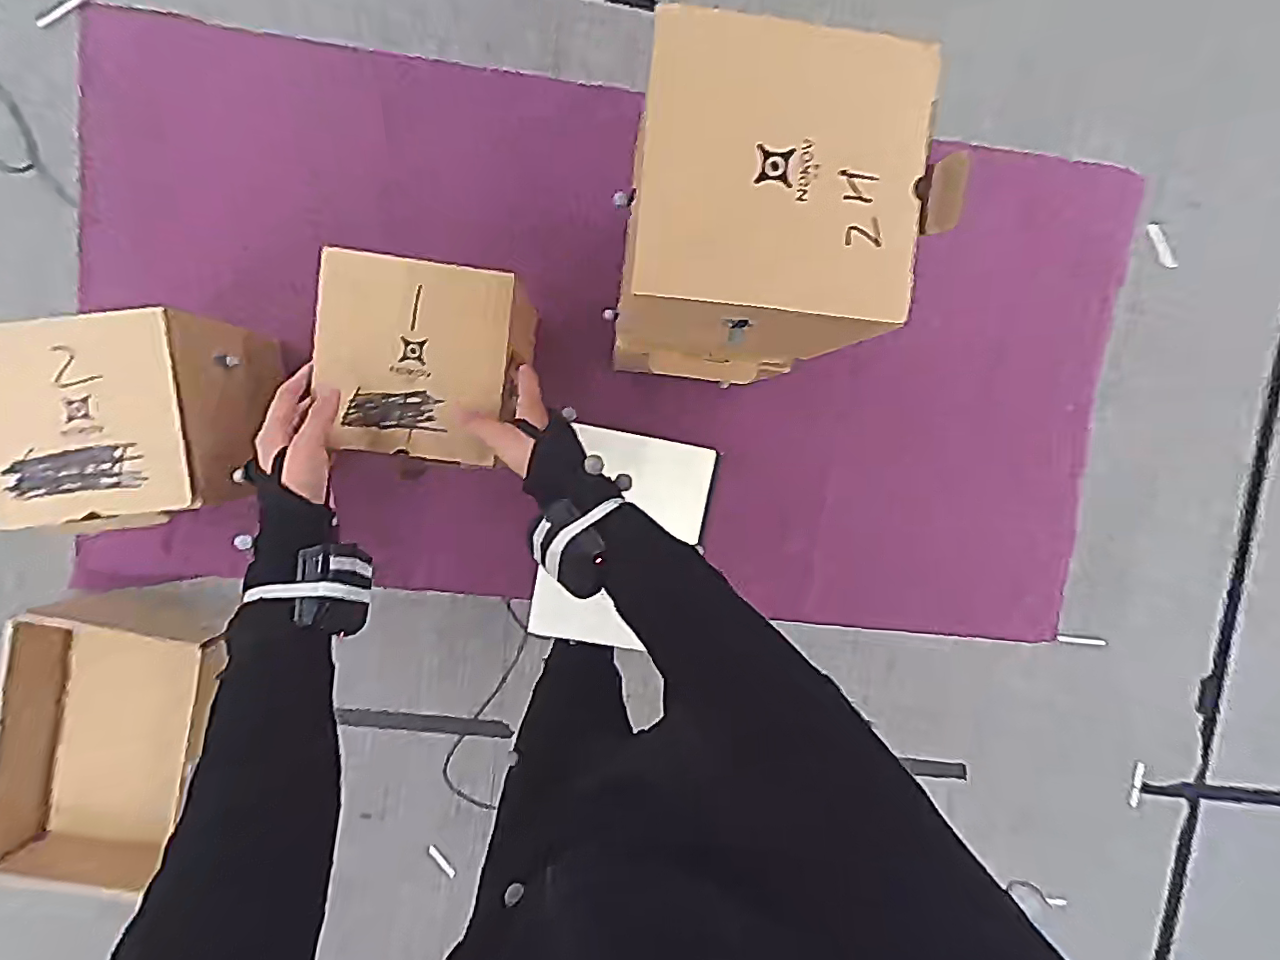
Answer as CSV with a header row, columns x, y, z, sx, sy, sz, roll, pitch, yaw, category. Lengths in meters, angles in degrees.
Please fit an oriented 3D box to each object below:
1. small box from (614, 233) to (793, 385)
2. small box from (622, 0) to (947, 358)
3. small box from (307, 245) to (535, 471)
x,y,z,sx,sy,sz,roll,pitch,yaw,category
0.065,-0.199,0.561,0.168,0.176,0.179,7,94,-5,small box
0.081,-0.189,0.397,0.179,0.176,0.168,5,95,-5,small box
-0.204,-0.110,0.549,0.168,0.176,0.179,7,94,-5,small box
